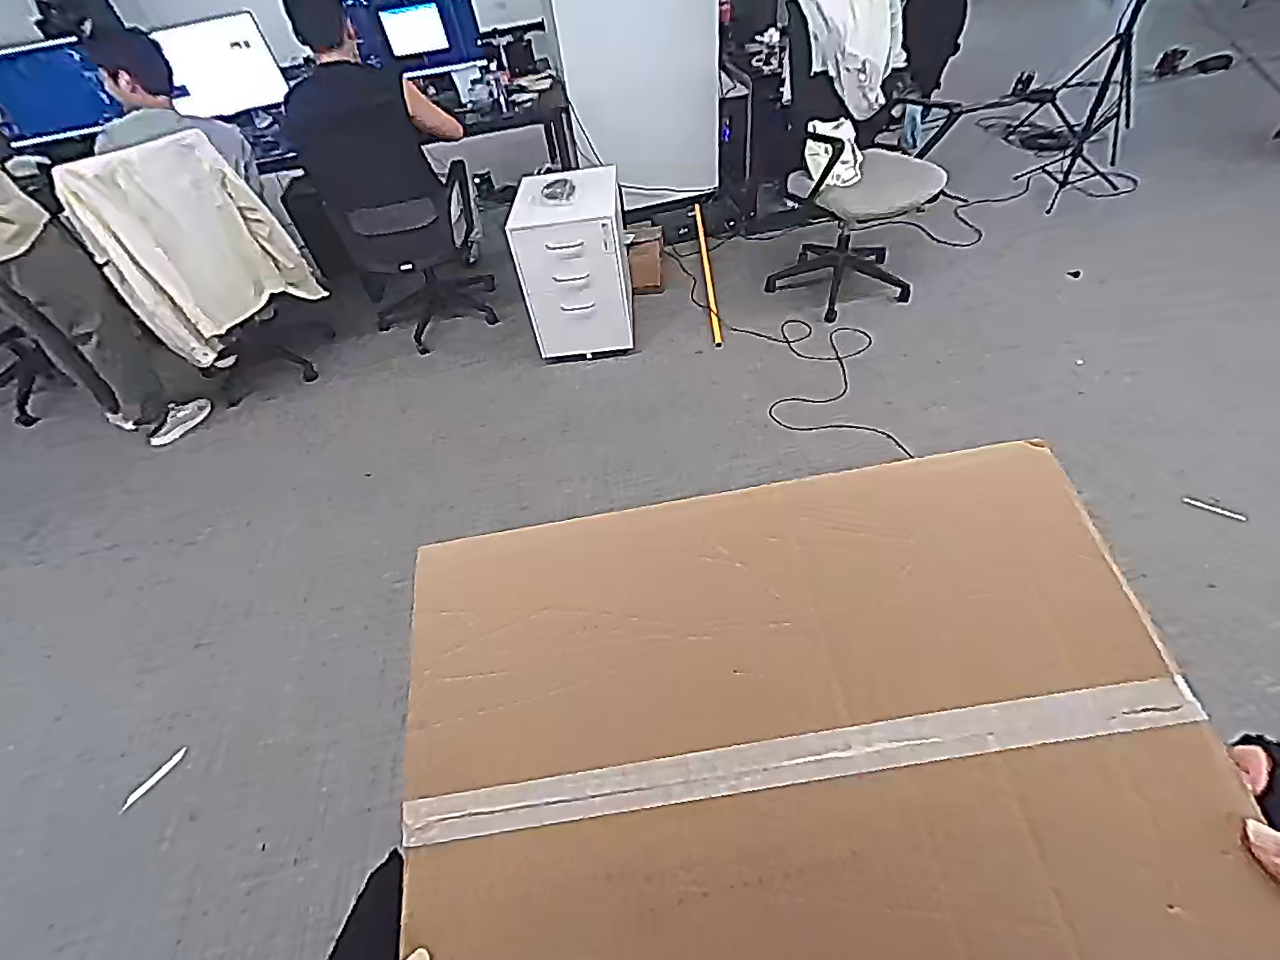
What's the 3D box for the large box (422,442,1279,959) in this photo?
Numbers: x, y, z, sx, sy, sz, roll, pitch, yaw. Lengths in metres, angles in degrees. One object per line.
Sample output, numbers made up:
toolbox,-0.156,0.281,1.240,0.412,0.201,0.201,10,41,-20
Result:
large box,0.092,0.213,0.424,0.408,0.320,0.320,-10,63,2
